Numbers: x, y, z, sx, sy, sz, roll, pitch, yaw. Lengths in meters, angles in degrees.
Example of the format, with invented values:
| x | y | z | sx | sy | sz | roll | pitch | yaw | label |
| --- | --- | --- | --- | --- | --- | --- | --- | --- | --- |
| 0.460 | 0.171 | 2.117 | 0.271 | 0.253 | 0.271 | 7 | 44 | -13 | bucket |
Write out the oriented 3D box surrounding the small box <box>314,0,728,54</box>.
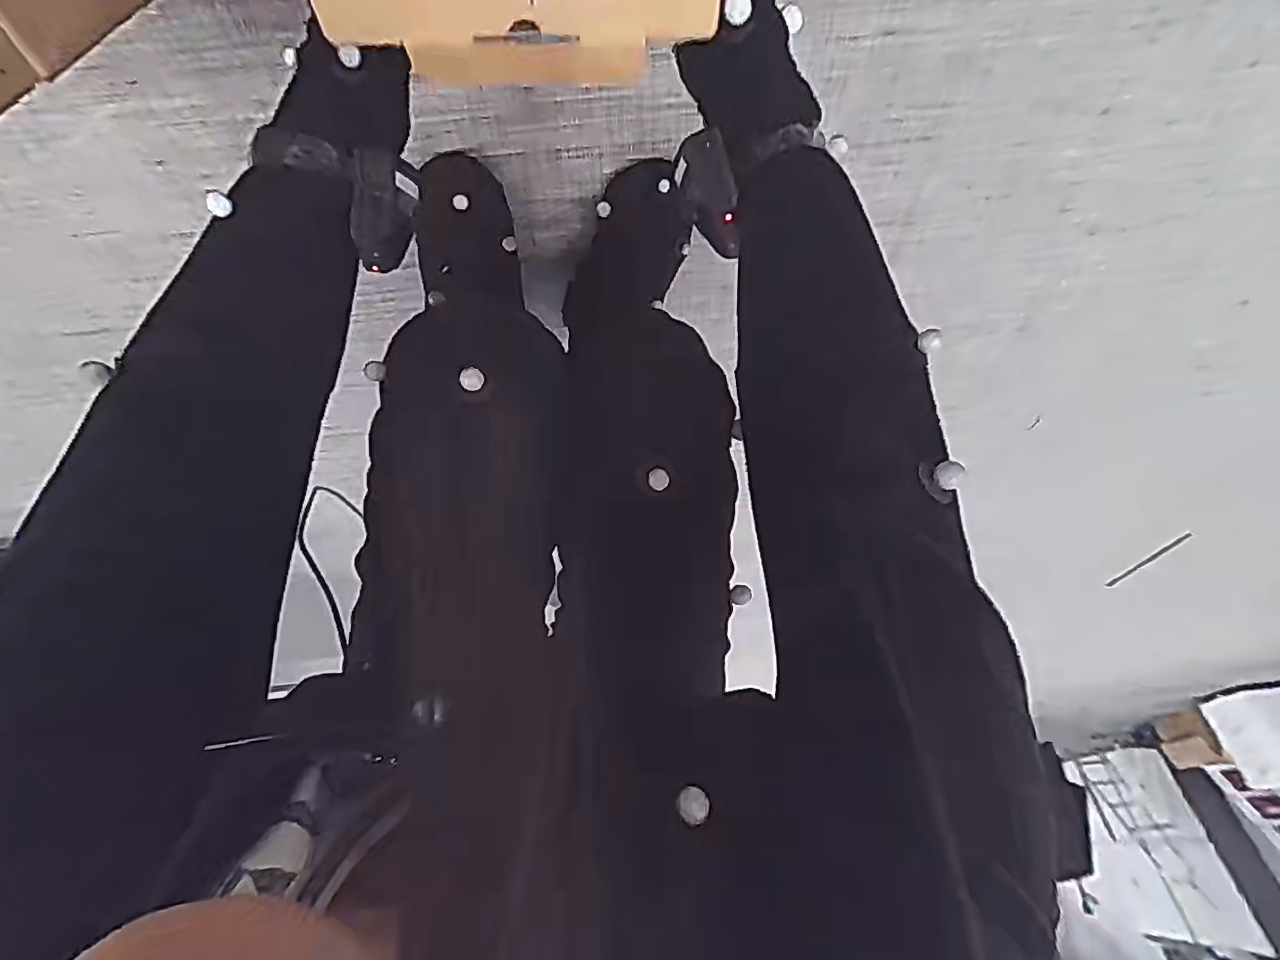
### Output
| x | y | z | sx | sy | sz | roll | pitch | yaw | label |
| --- | --- | --- | --- | --- | --- | --- | --- | --- | --- |
| -0.049 | -0.294 | 0.200 | 0.168 | 0.176 | 0.179 | -4 | 145 | -6 | small box |

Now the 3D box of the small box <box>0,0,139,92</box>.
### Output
| x | y | z | sx | sy | sz | roll | pitch | yaw | label |
| --- | --- | --- | --- | --- | --- | --- | --- | --- | --- |
| -0.337 | -0.267 | 0.201 | 0.179 | 0.176 | 0.168 | -7 | 146 | -3 | small box |
